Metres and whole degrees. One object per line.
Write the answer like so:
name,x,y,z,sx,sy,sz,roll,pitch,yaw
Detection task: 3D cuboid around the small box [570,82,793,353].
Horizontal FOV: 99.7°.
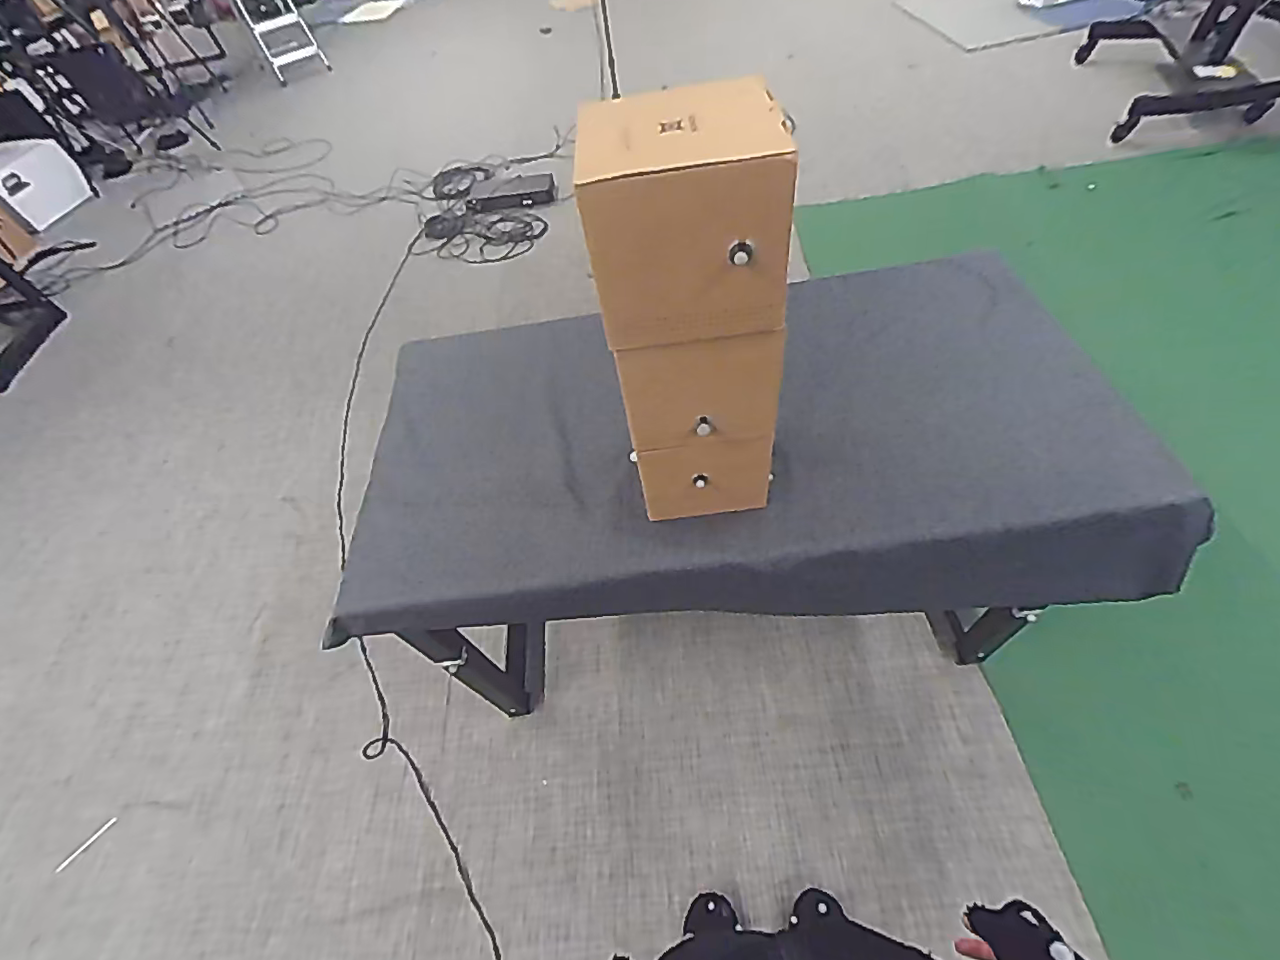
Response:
small box,0.039,-0.247,0.526,0.179,0.176,0.168,-7,52,5

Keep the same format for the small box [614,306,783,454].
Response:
small box,0.062,-0.153,0.660,0.179,0.176,0.168,-9,54,3

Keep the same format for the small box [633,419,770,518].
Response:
small box,0.083,-0.062,0.790,0.179,0.176,0.168,-8,53,4
